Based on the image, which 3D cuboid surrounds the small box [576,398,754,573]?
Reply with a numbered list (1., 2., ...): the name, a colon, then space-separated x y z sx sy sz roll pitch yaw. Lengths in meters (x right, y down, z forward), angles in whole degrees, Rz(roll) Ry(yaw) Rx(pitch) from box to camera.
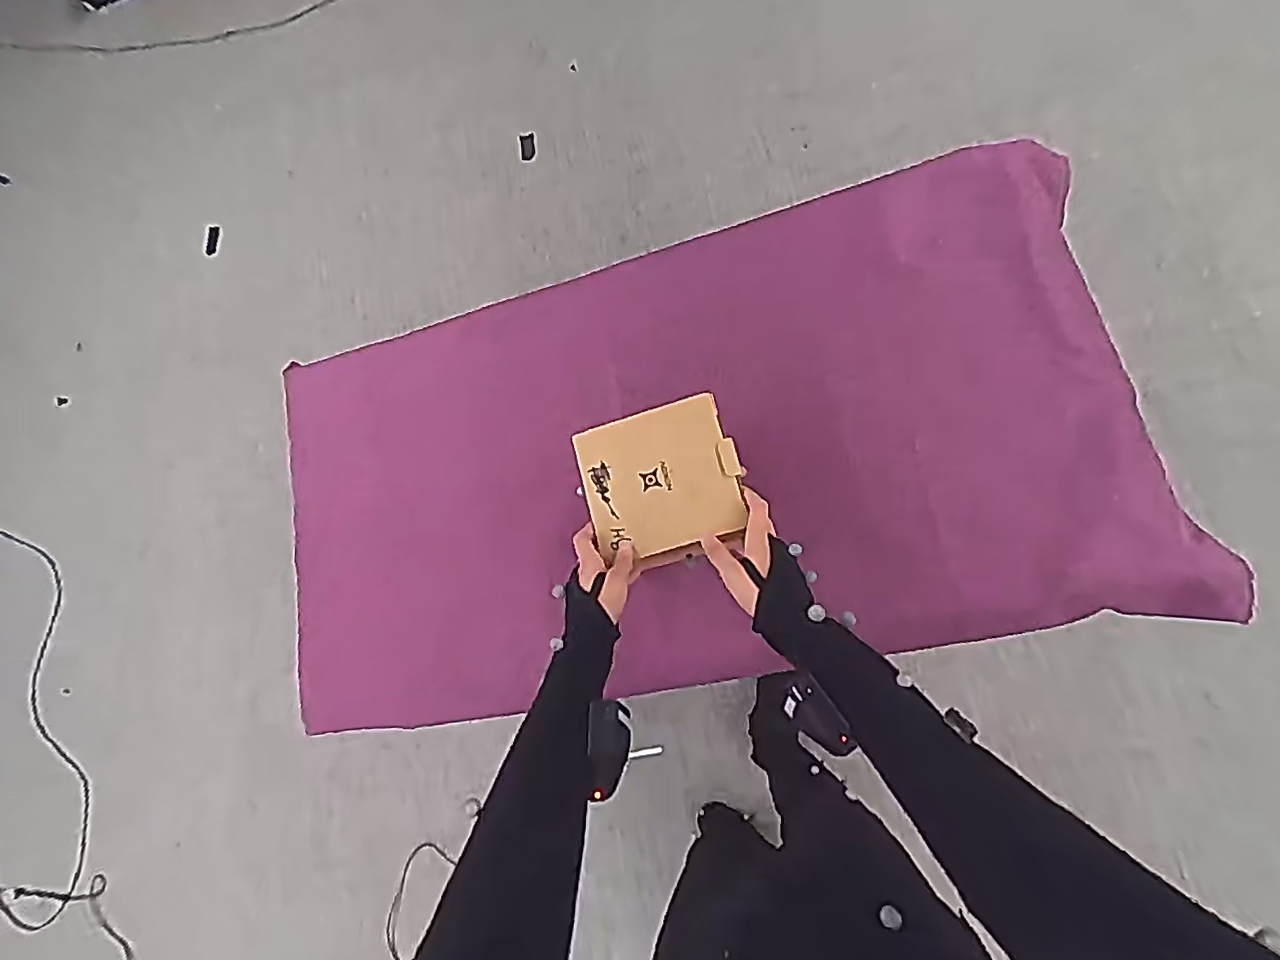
1. small box: 0.037 0.018 0.692 0.179 0.176 0.168 -16 76 7
